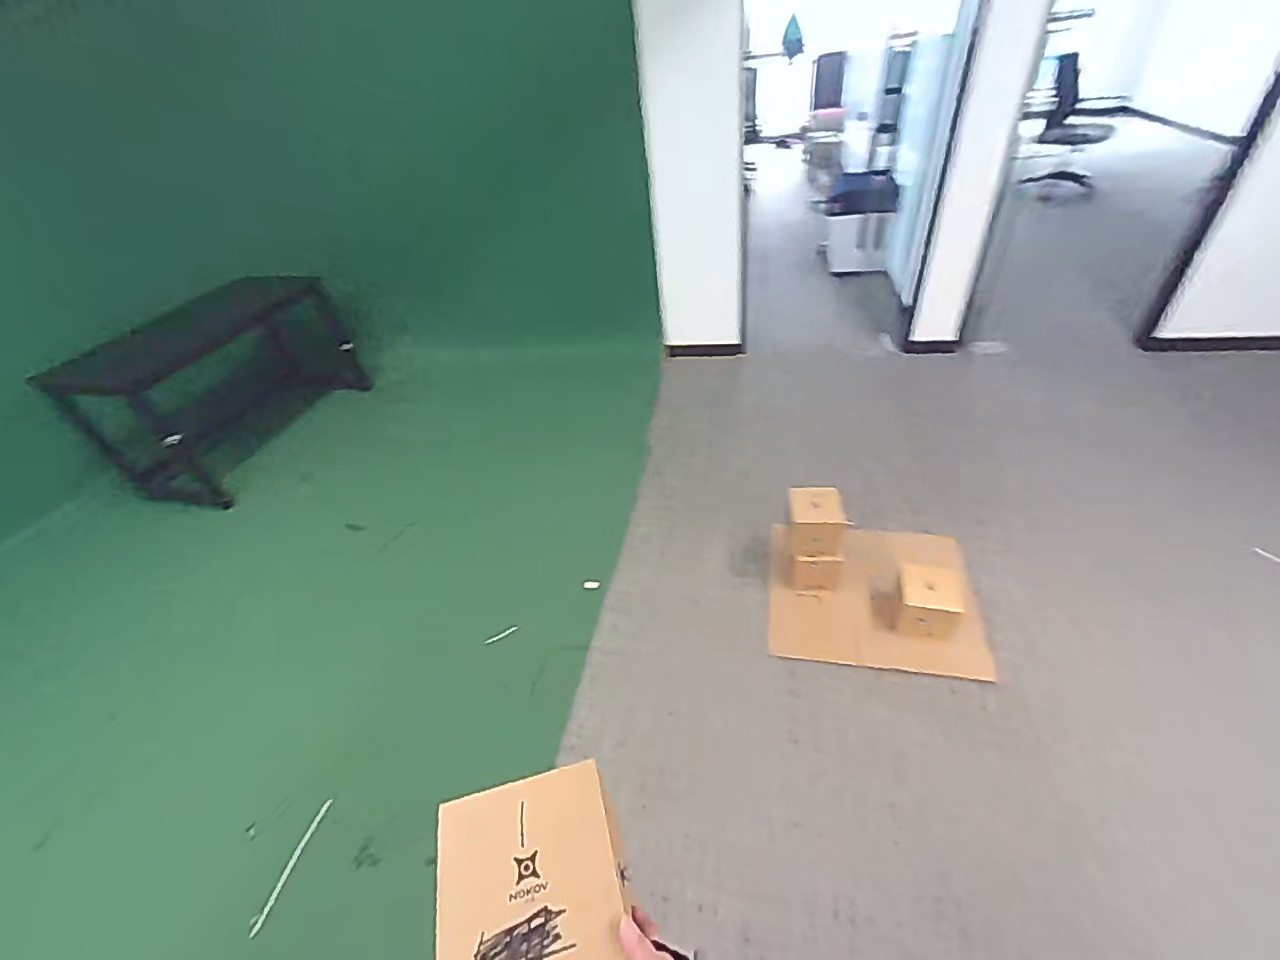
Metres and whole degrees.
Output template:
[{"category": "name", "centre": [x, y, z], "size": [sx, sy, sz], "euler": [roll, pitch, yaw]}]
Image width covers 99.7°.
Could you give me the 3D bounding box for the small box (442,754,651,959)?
[{"category": "small box", "centre": [-0.089, 0.417, 0.551], "size": [0.168, 0.176, 0.179], "euler": [-12, 43, -6]}]

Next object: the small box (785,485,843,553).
[{"category": "small box", "centre": [0.596, 0.138, 1.869], "size": [0.168, 0.176, 0.179], "euler": [0, 40, 8]}]

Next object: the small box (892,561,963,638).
[{"category": "small box", "centre": [0.931, 0.392, 1.765], "size": [0.168, 0.176, 0.179], "euler": [5, 41, 15]}]

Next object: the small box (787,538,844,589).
[{"category": "small box", "centre": [0.630, 0.273, 1.960], "size": [0.168, 0.176, 0.179], "euler": [-2, 40, 8]}]
